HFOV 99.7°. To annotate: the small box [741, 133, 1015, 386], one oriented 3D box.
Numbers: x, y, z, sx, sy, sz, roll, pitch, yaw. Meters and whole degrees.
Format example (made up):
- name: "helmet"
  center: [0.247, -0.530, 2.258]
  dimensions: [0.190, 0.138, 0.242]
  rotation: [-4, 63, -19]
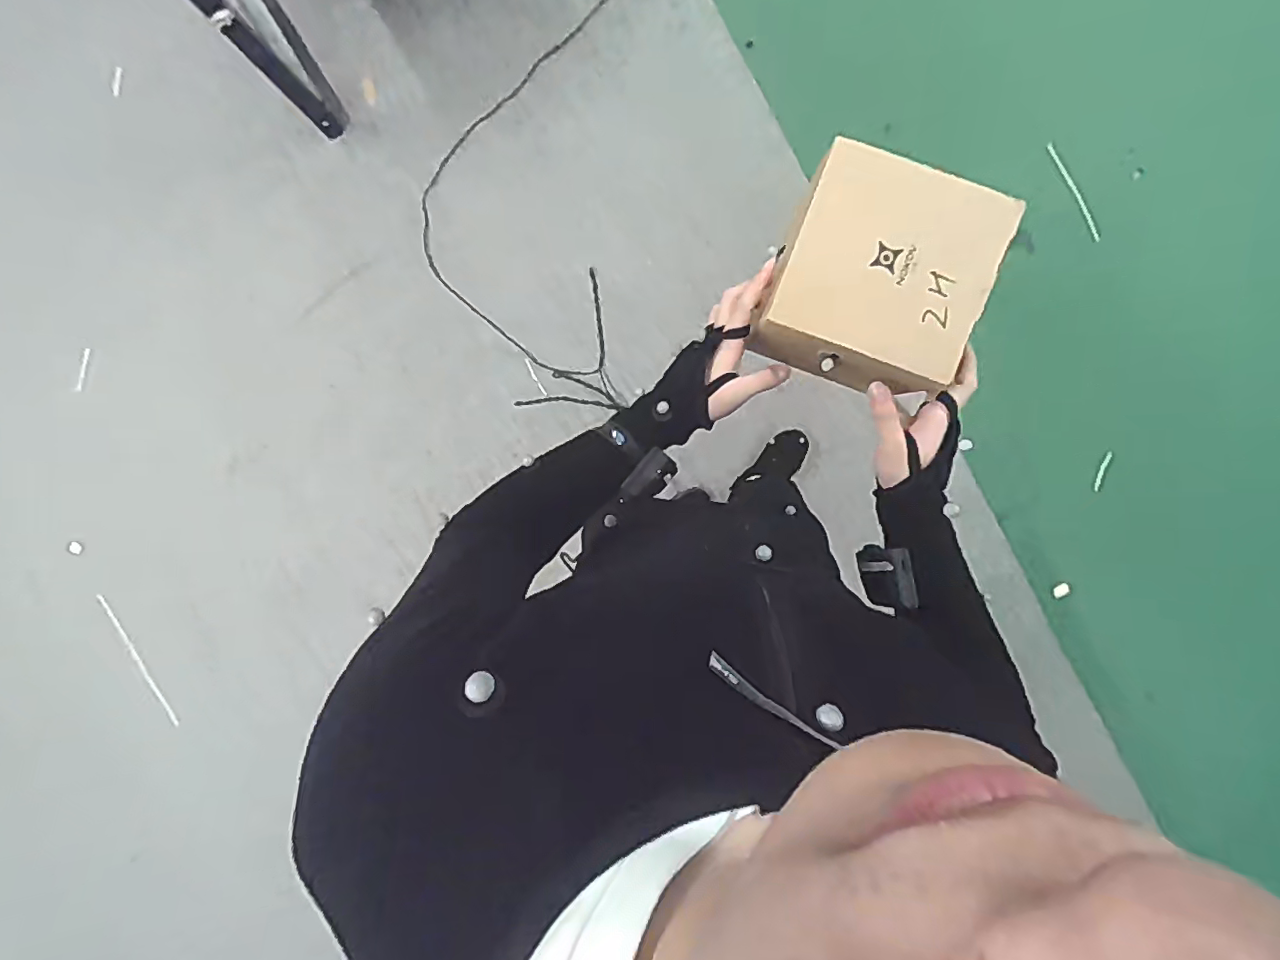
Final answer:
- name: "small box"
  center: [0.216, -0.201, 0.549]
  dimensions: [0.179, 0.176, 0.168]
  rotation: [20, 96, 1]
